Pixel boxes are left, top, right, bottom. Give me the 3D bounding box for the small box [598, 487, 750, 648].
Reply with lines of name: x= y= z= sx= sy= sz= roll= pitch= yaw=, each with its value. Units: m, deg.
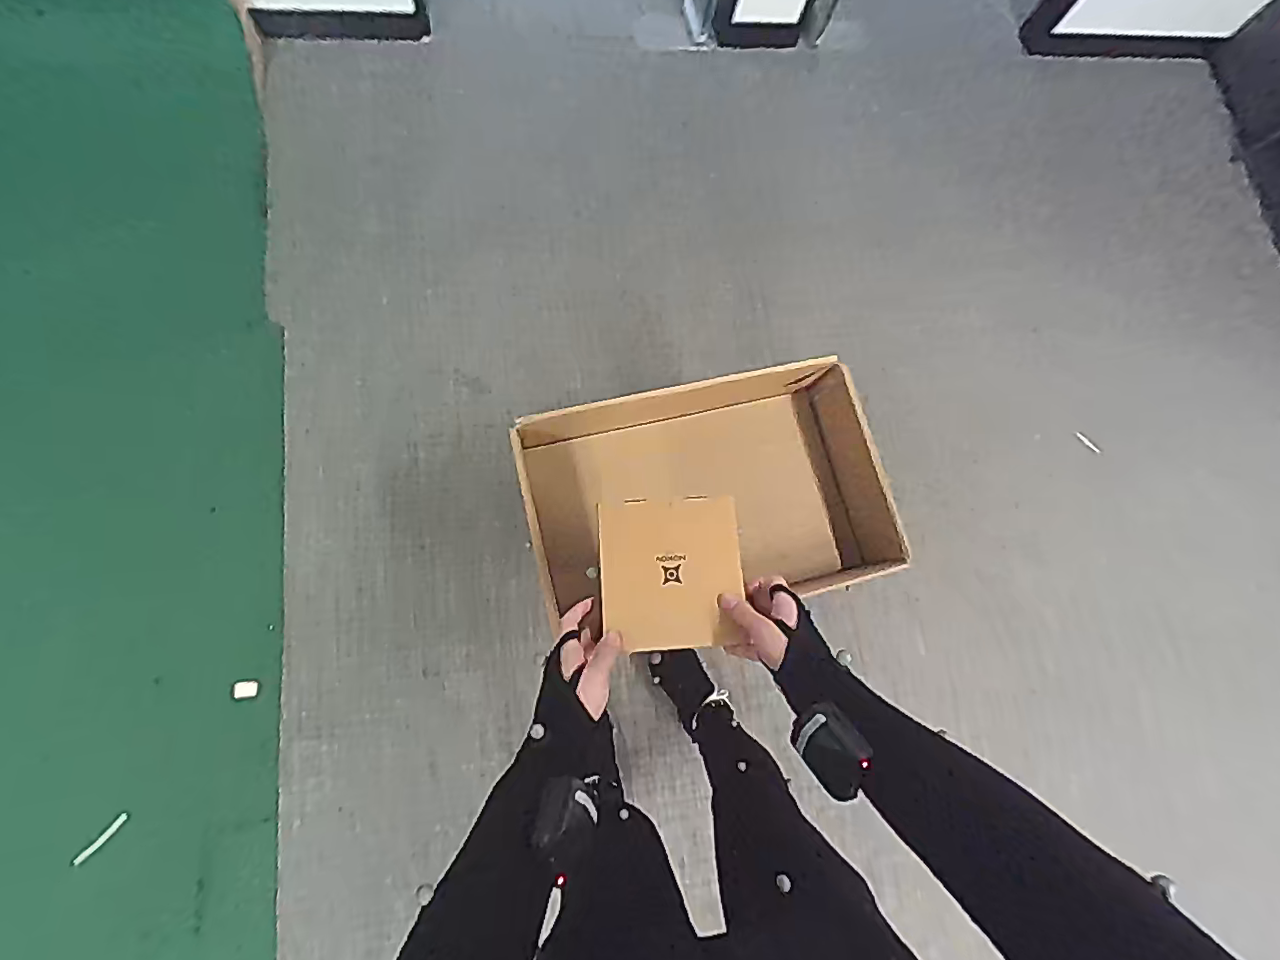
small box: x=0.036 y=0.119 z=0.690 sx=0.168 sy=0.176 sz=0.179 roll=-3 pitch=72 yaw=-2
